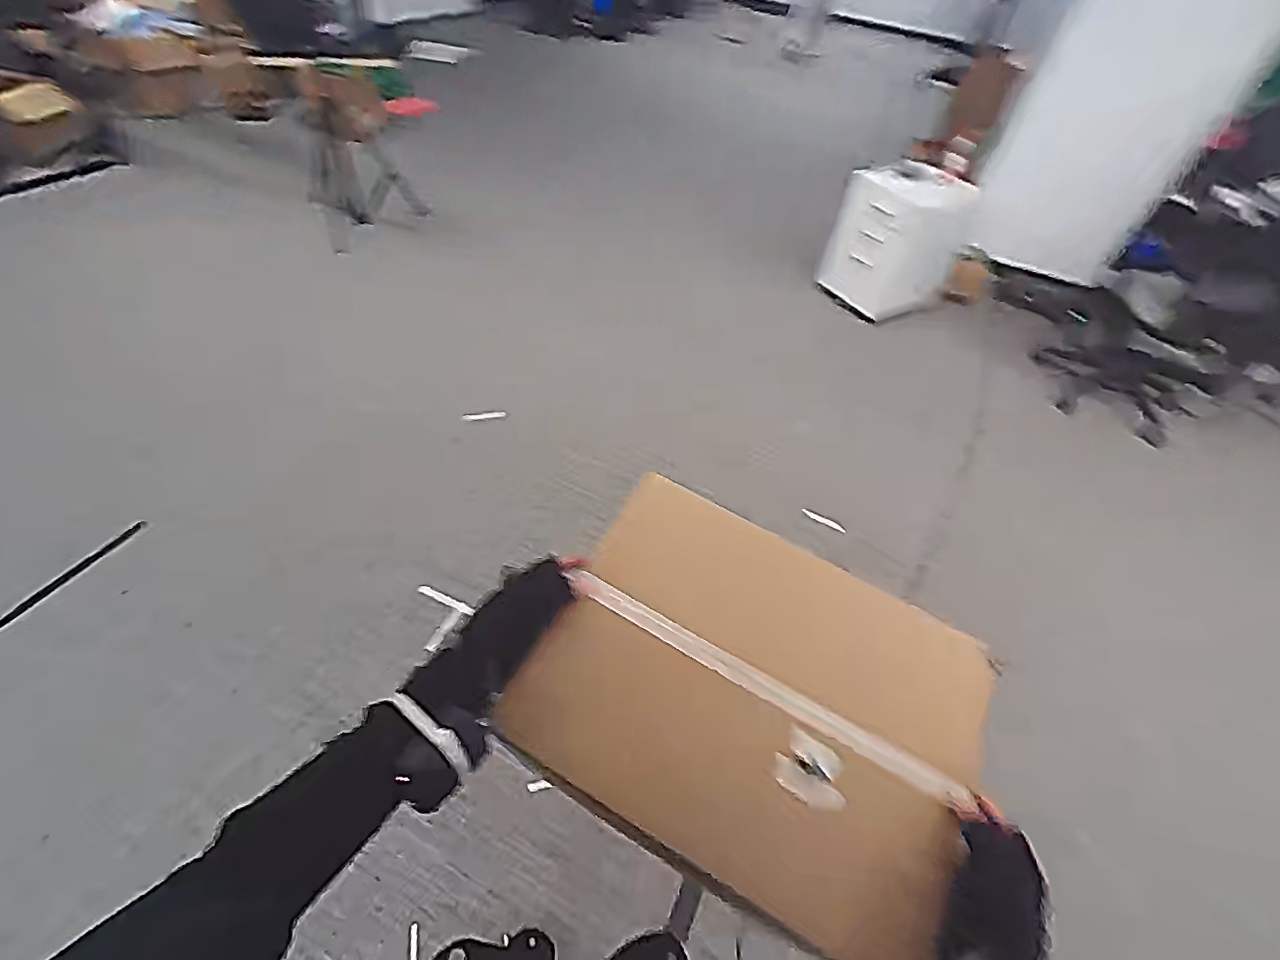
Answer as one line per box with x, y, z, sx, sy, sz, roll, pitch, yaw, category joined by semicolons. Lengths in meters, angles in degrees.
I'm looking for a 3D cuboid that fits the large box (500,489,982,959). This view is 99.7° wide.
0.098;0.283;0.650;0.408;0.320;0.320;29;60;11;large box
